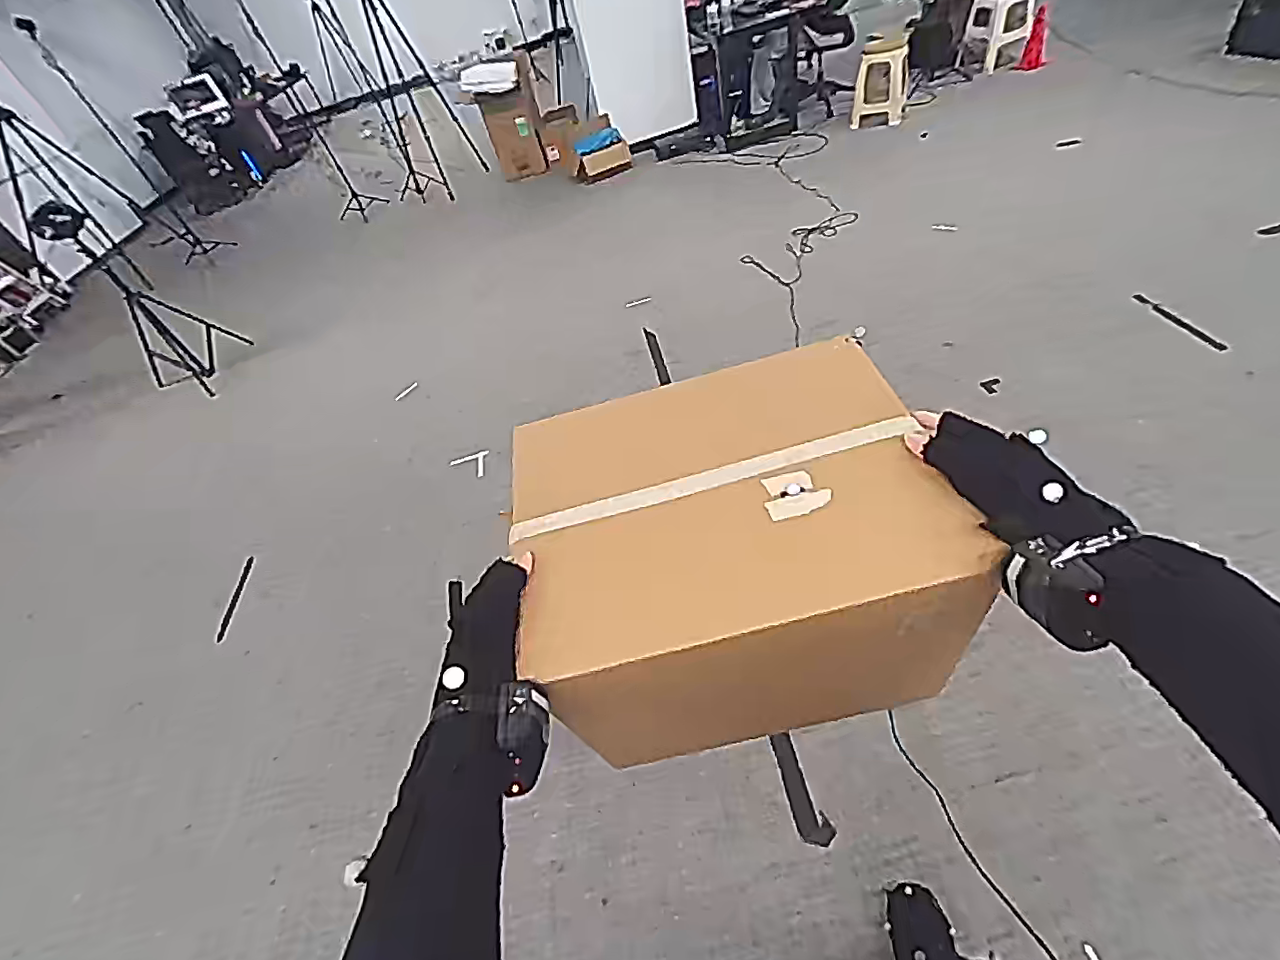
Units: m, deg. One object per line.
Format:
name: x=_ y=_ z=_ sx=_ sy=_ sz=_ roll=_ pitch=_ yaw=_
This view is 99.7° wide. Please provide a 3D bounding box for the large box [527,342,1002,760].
large box: x=0.109 y=0.095 z=0.652 sx=0.408 sy=0.320 sz=0.320 roll=-15 pitch=50 yaw=3
